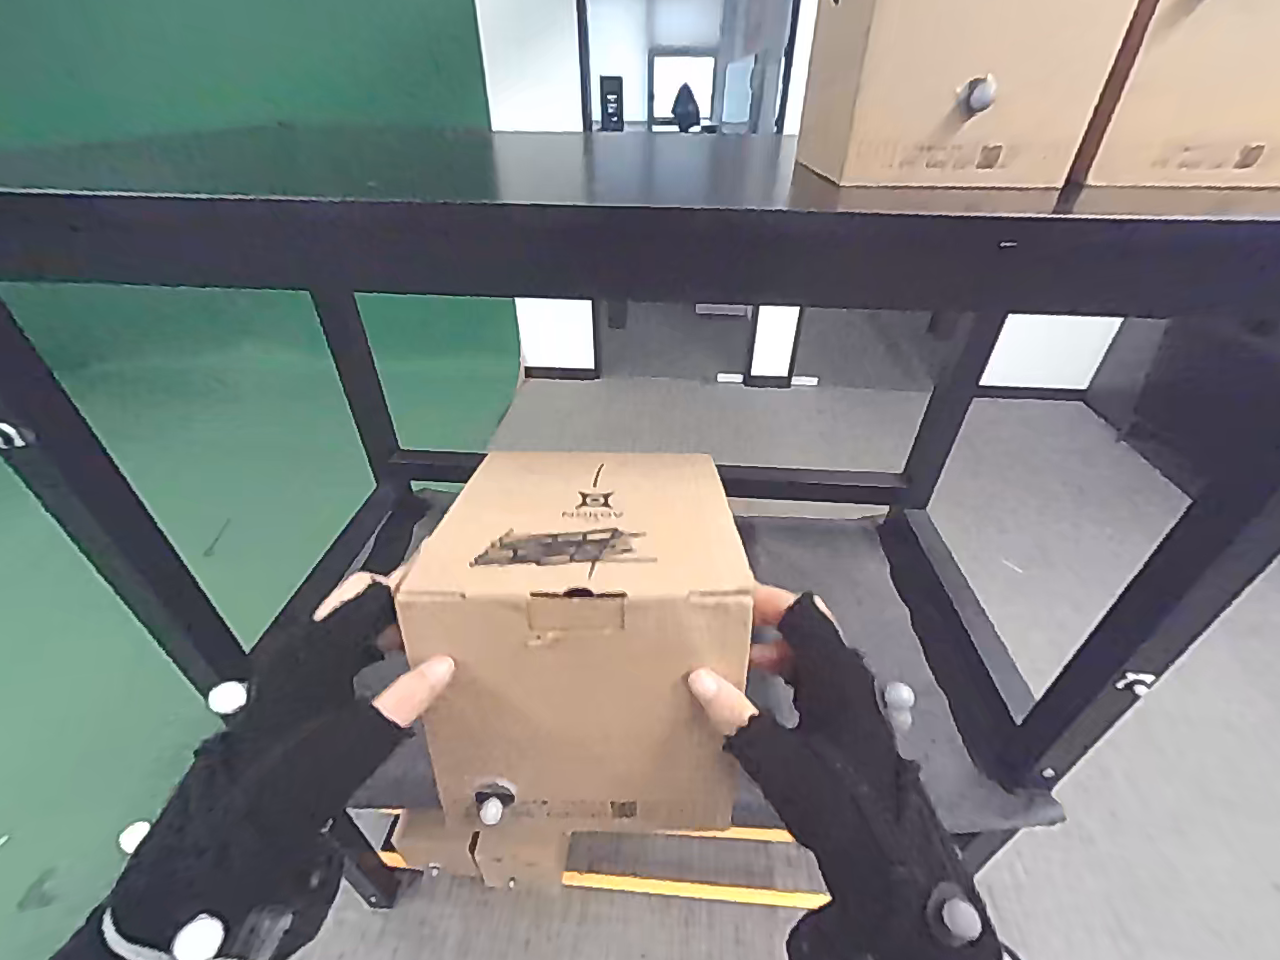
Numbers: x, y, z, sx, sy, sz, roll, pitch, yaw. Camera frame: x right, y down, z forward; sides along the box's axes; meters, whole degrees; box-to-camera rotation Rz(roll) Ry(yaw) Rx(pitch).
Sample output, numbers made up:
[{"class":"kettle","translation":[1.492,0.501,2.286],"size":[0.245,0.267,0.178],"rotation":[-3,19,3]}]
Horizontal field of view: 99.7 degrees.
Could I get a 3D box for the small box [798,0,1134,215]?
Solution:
[{"class":"small box","translation":[0.234,-0.322,0.433],"size":[0.168,0.176,0.179],"rotation":[1,36,2]}]
